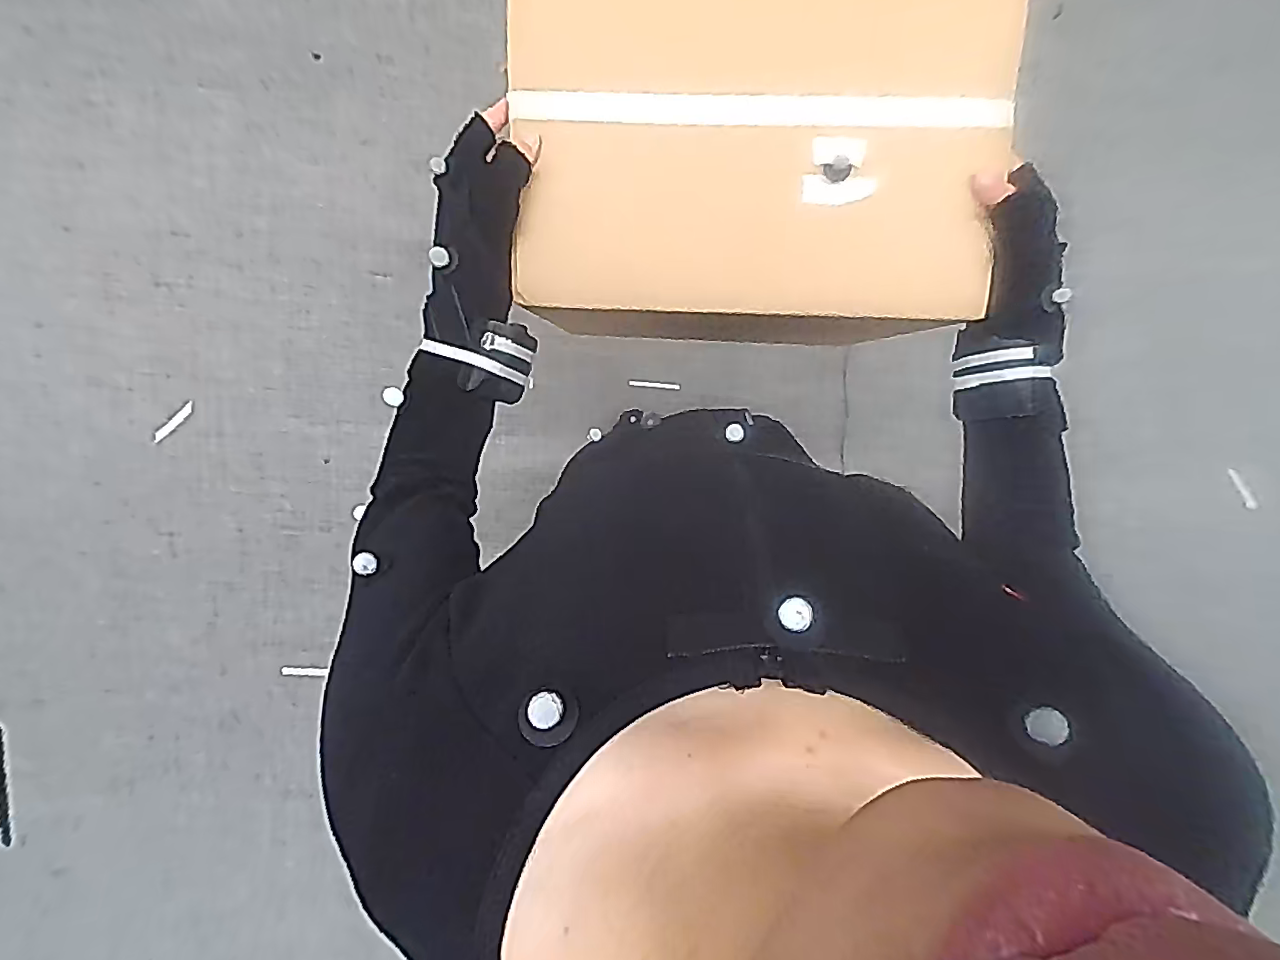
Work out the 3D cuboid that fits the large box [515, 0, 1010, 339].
[{"bbox_3d":[0.096,-0.330,0.595,0.408,0.320,0.320,2,100,1],"label":"large box"}]
